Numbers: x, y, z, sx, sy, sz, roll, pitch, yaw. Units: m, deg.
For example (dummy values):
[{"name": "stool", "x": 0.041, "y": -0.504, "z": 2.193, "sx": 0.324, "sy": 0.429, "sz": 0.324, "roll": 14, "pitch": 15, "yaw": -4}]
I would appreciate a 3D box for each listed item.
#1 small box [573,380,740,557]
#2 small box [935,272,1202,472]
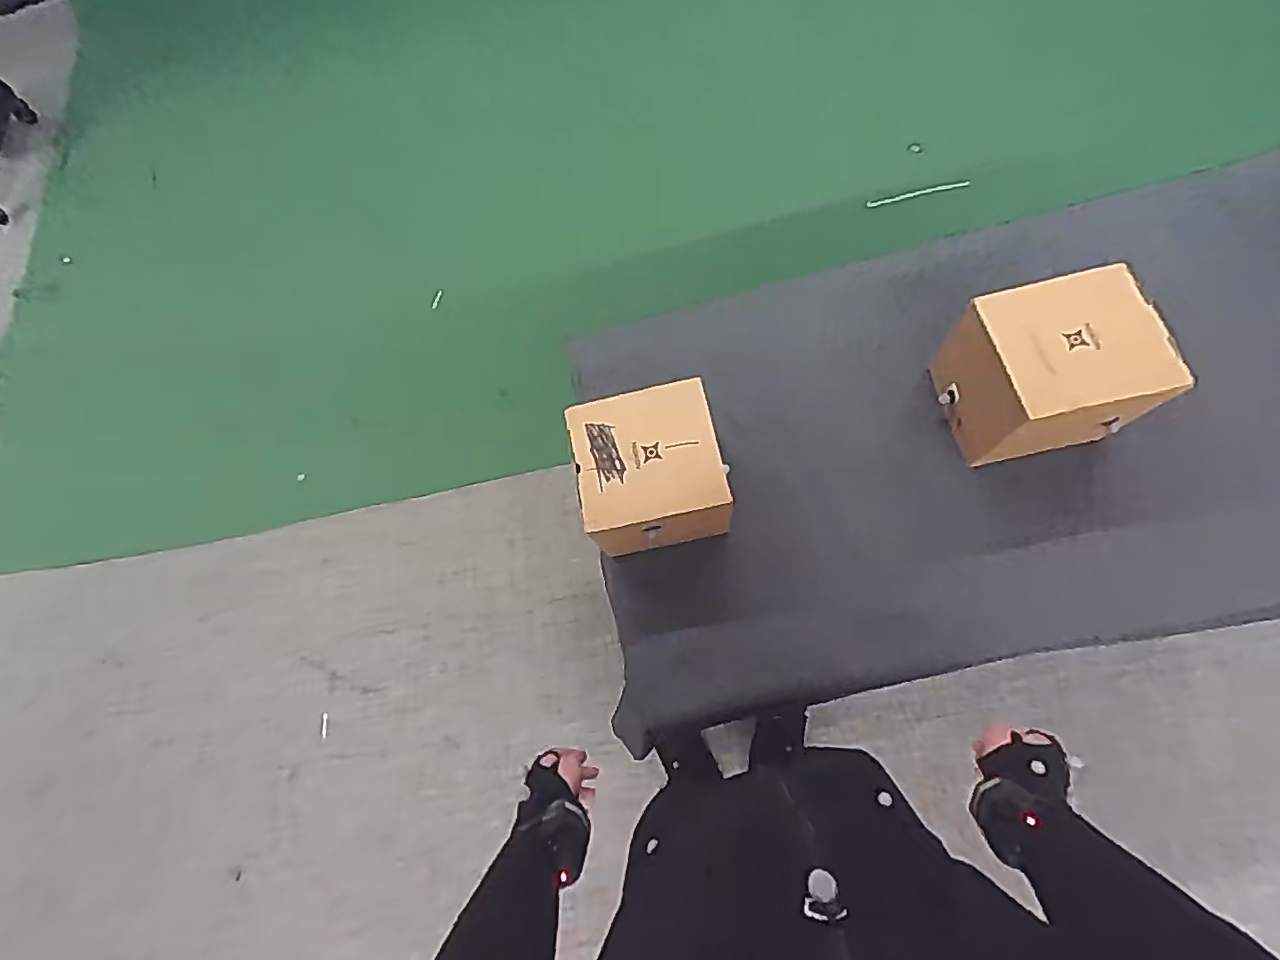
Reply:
[{"name": "small box", "x": 0.024, "y": -0.004, "z": 0.707, "sx": 0.179, "sy": 0.176, "sz": 0.168, "roll": -12, "pitch": 72, "yaw": 2}, {"name": "small box", "x": 0.514, "y": -0.125, "z": 0.683, "sx": 0.179, "sy": 0.176, "sz": 0.168, "roll": -13, "pitch": 71, "yaw": 5}]
